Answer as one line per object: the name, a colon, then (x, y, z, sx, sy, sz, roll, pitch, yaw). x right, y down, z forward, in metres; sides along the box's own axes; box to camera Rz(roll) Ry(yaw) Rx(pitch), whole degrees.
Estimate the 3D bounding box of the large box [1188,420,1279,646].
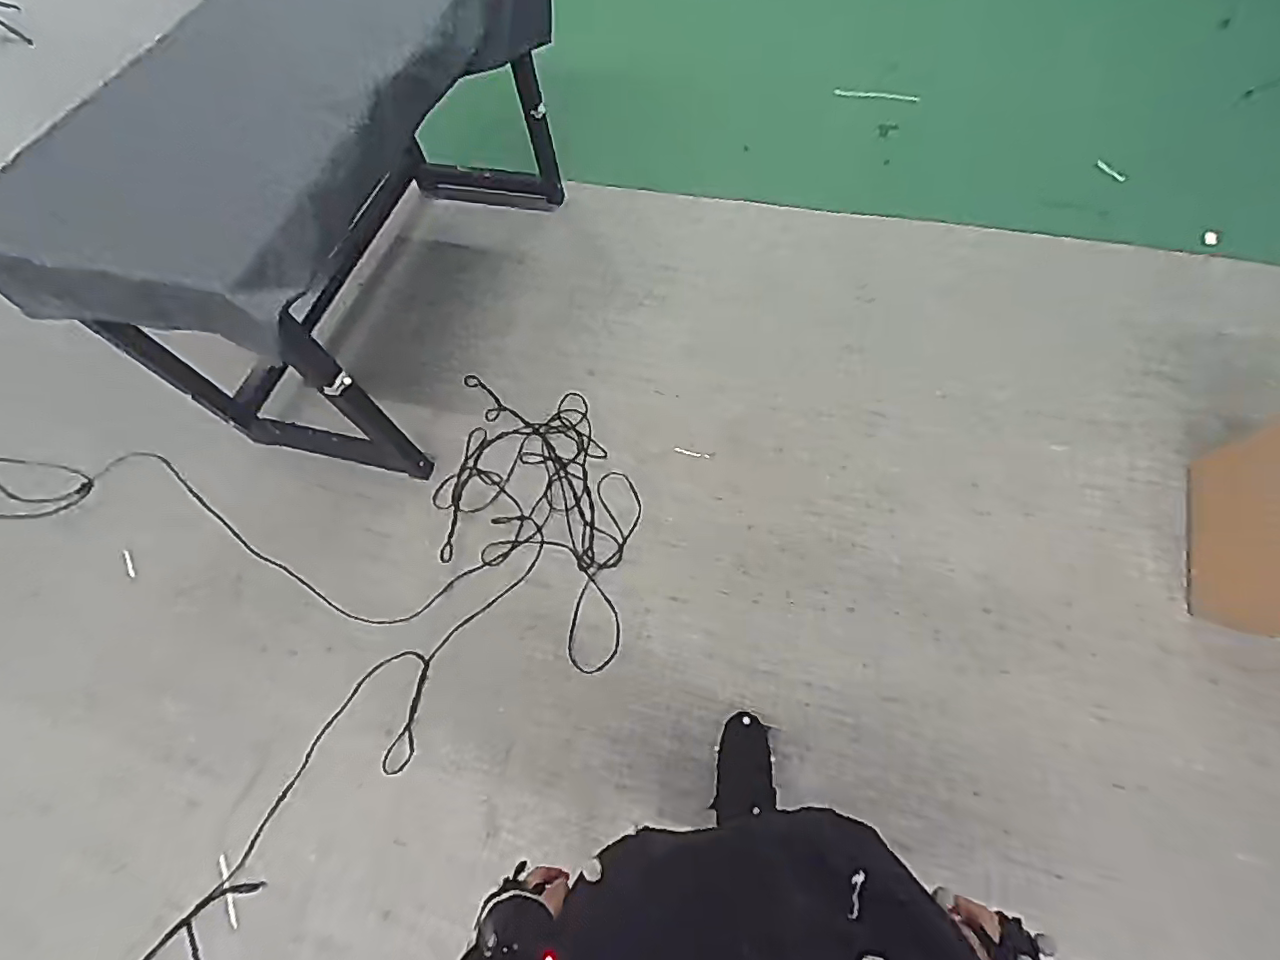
large box: (1.411, 0.118, 1.095, 0.320, 0.320, 0.408, 17, 68, 14)
